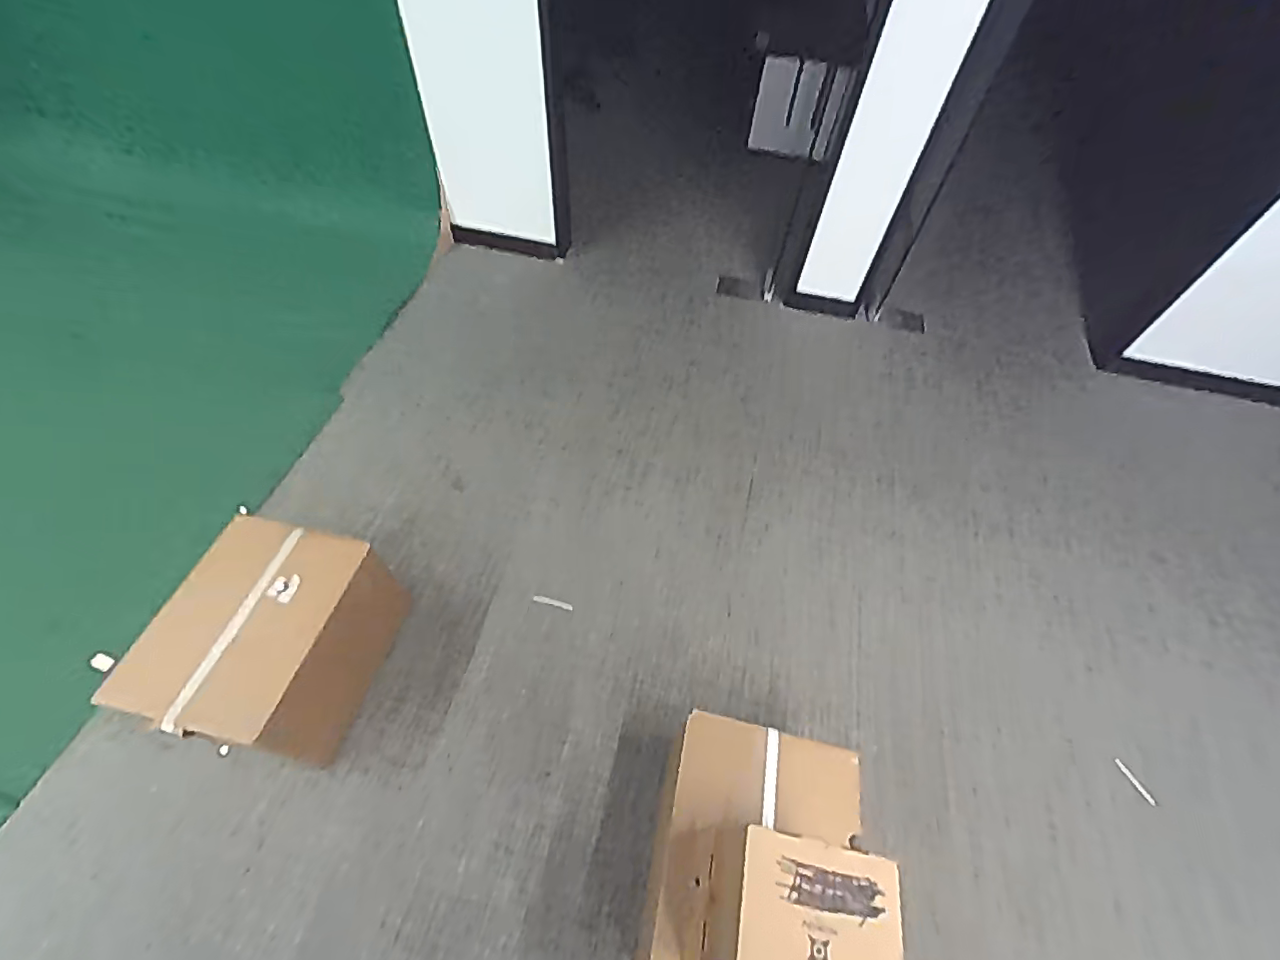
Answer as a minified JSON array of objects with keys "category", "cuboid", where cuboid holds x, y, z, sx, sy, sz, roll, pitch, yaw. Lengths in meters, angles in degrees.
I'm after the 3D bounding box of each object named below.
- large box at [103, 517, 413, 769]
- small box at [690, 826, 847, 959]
[{"category":"large box","cuboid":[-0.759,0.351,1.161,0.320,0.320,0.408,12,54,5]},{"category":"small box","cuboid":[0.173,0.599,0.755,0.179,0.176,0.168,10,55,6]}]
